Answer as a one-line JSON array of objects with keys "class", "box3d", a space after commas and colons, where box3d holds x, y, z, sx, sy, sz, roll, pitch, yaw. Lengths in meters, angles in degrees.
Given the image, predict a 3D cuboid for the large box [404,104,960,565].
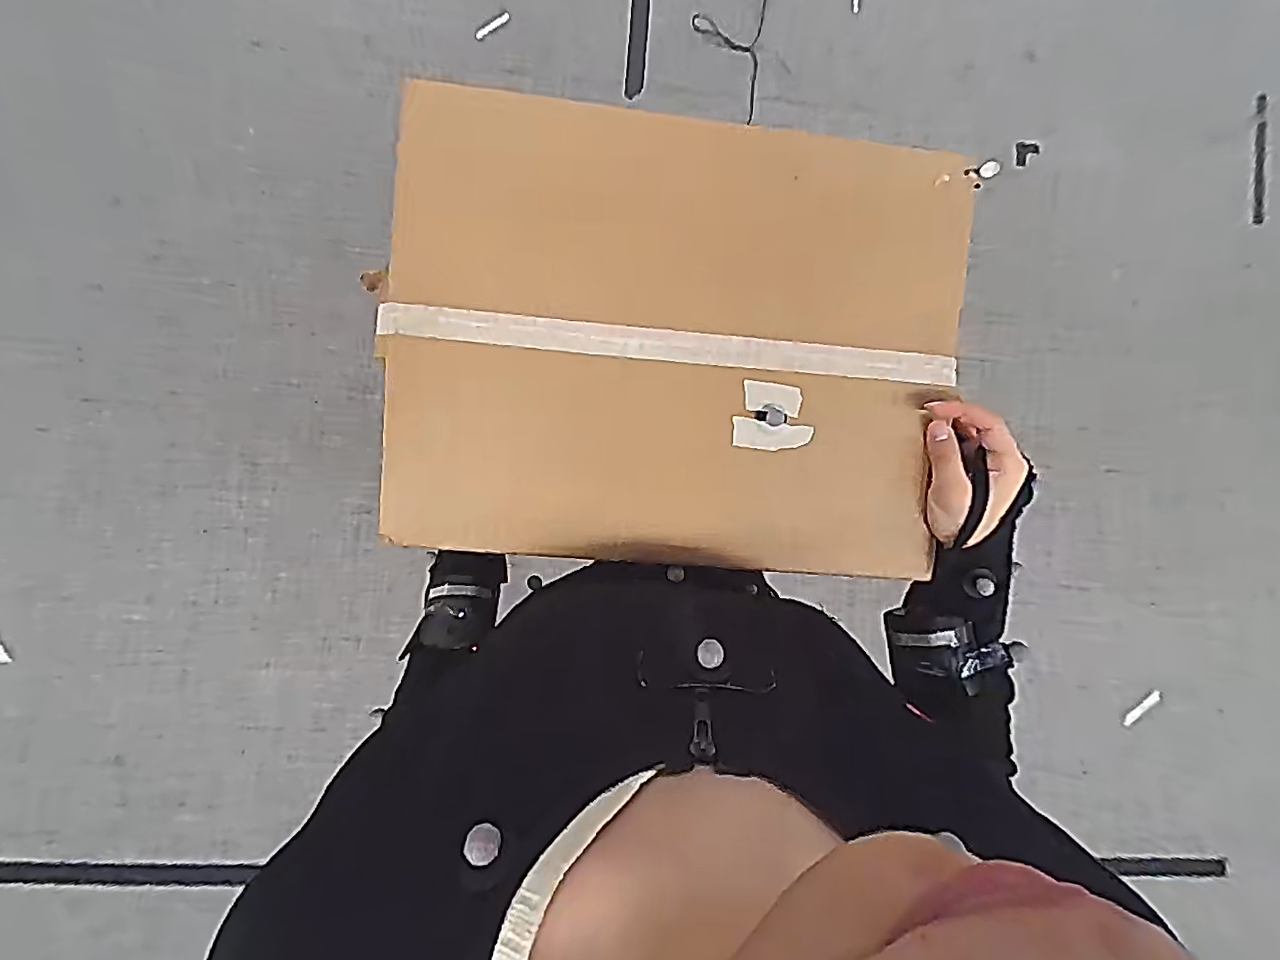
[{"class": "large box", "box3d": [0.020, -0.104, 0.542, 0.408, 0.320, 0.320, 4, 94, -6]}]
